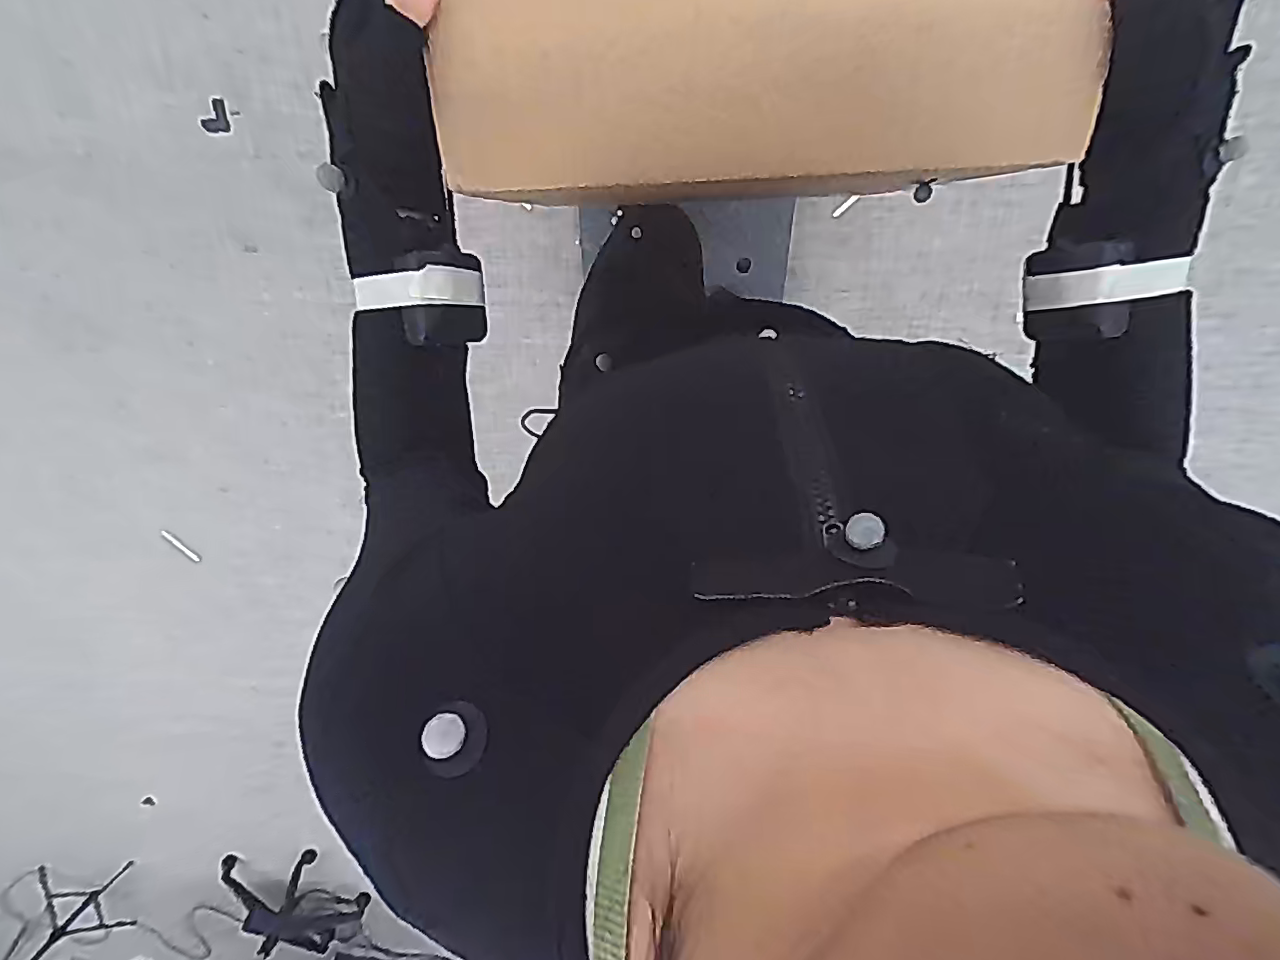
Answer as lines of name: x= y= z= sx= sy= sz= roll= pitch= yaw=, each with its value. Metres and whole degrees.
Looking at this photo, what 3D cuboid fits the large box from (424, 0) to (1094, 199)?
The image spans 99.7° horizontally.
large box: x=0.072 y=-0.408 z=0.428 sx=0.408 sy=0.320 sz=0.320 roll=-1 pitch=115 yaw=3
